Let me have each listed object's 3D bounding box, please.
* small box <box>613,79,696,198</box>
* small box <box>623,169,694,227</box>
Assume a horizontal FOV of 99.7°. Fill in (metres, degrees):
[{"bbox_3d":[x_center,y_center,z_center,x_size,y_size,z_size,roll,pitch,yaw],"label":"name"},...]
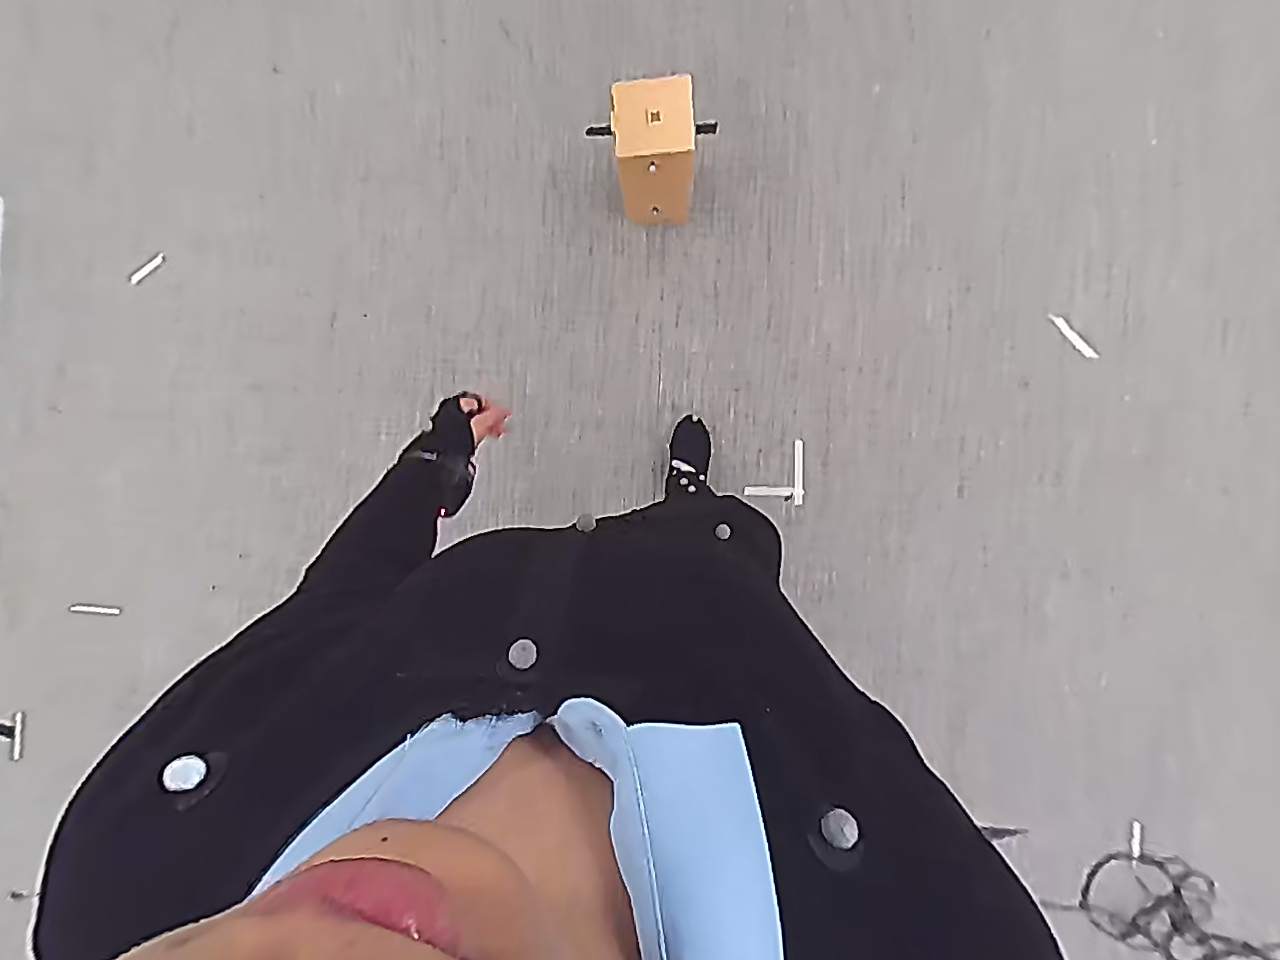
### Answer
[{"bbox_3d":[0.035,-0.779,1.250,0.179,0.176,0.168,-3,89,5],"label":"small box"},{"bbox_3d":[0.053,-0.787,1.412,0.168,0.176,0.179,6,89,4],"label":"small box"}]
